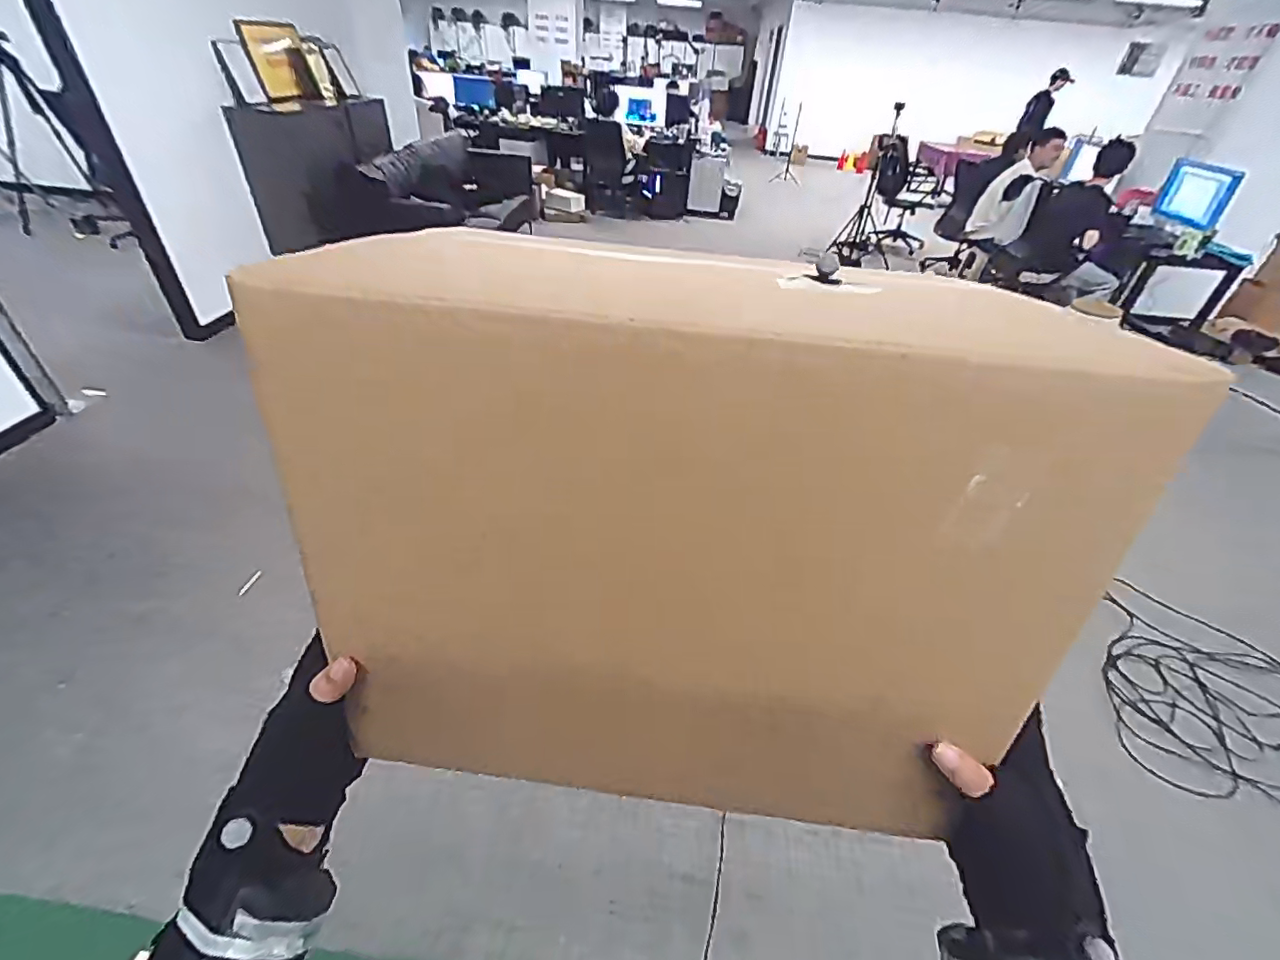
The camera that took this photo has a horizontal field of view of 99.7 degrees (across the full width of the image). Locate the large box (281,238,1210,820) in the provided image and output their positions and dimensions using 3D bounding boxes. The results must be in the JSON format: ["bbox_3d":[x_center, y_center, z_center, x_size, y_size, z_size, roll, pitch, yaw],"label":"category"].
[{"bbox_3d":[0.035,0.007,0.424,0.408,0.320,0.320,7,28,1],"label":"large box"}]
